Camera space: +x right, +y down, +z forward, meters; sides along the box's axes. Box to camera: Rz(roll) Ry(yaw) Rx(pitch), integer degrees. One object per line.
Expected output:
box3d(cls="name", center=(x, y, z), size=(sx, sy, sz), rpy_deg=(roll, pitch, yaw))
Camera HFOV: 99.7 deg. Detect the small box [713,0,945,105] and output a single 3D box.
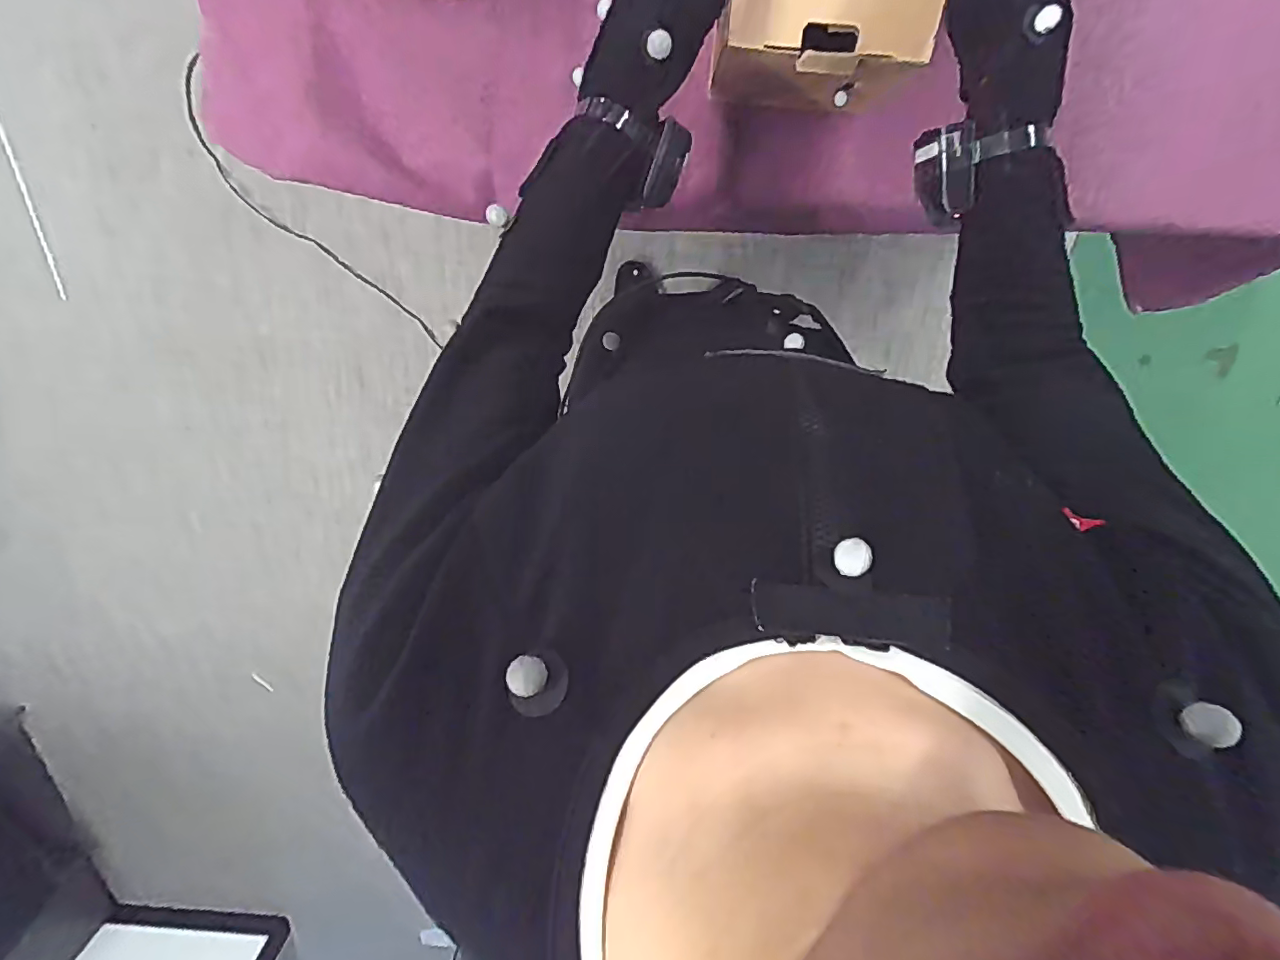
box3d(cls="small box", center=(0.157, -0.442, 0.460), size=(0.168, 0.176, 0.179), rpy_deg=(5, 113, 0))
